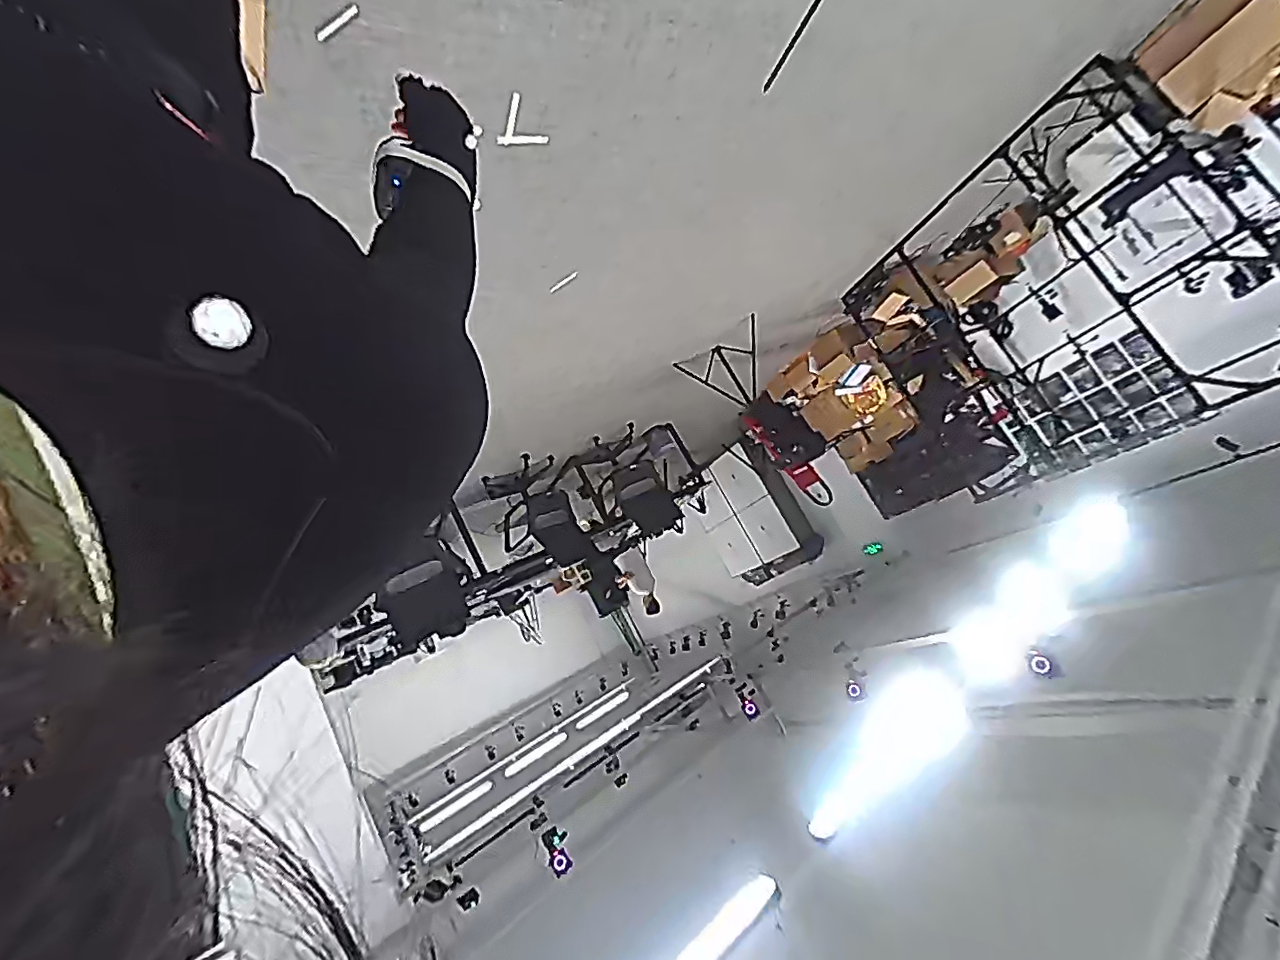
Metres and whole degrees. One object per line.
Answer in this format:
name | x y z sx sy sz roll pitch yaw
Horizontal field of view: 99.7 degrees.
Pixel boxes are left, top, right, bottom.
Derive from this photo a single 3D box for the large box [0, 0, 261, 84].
large box | -0.809 -0.839 0.745 0.408 0.320 0.320 -21 166 -41
